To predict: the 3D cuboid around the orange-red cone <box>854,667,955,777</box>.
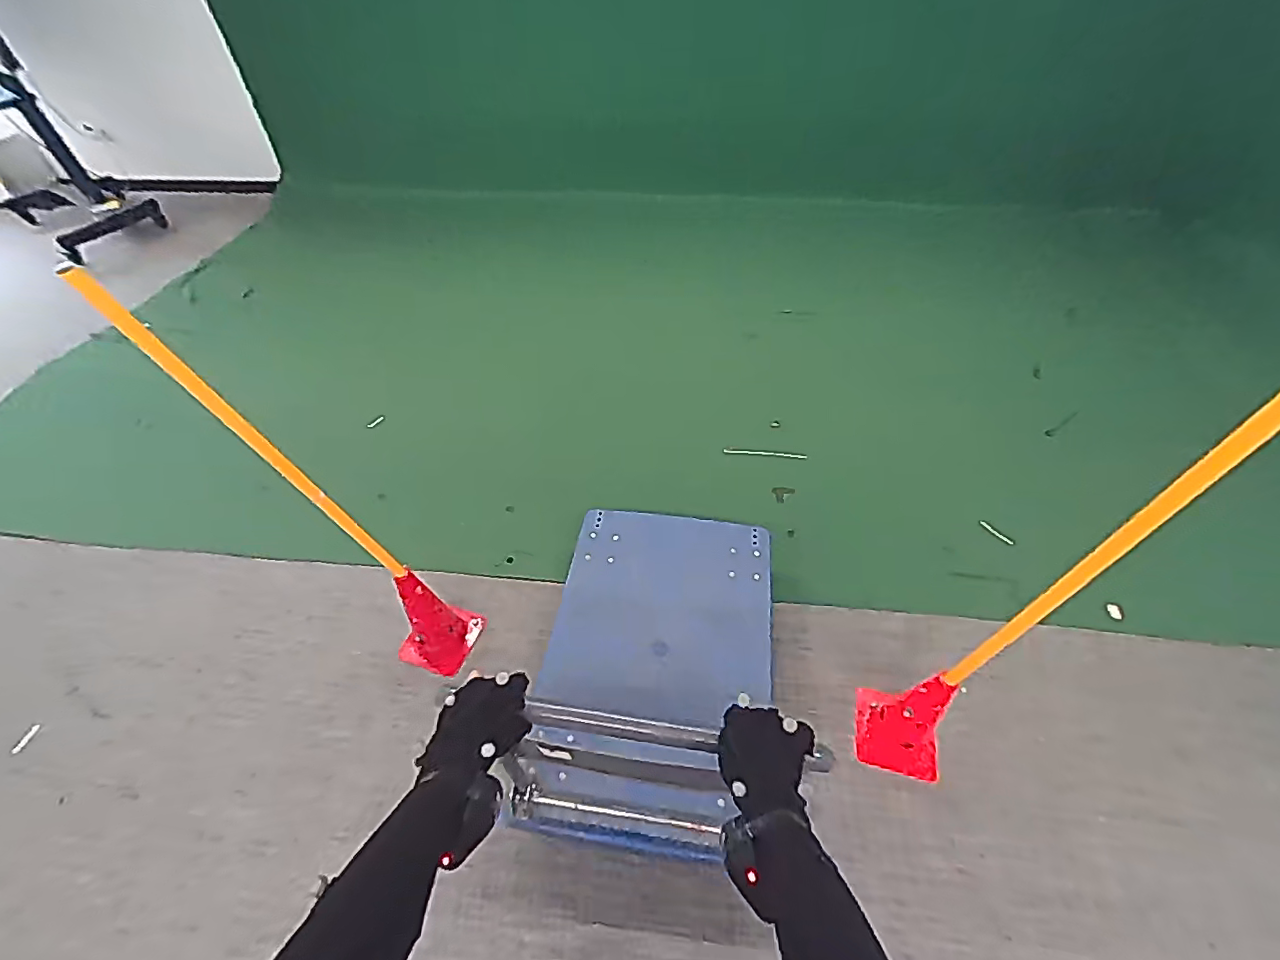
[{"bbox_3d":[0.661,0.536,1.287,0.198,0.360,0.199,12,50,13],"label":"orange-red cone"}]
